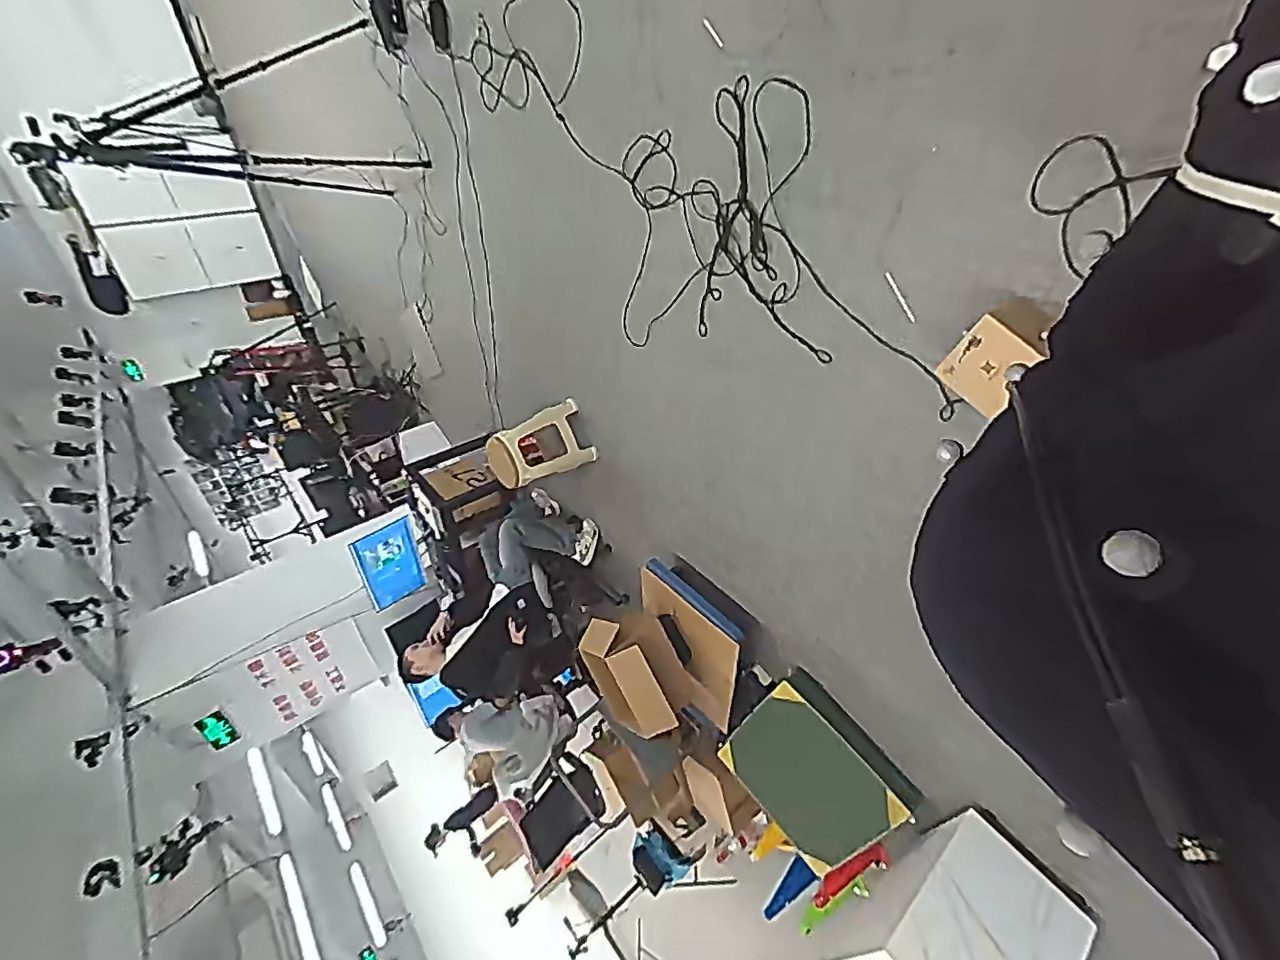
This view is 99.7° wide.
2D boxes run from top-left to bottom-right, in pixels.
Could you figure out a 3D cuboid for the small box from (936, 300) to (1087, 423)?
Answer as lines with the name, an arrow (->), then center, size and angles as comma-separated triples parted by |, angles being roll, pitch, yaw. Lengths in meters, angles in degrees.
small box -> 0.790, -0.257, 1.151 | 0.179, 0.176, 0.168 | 51, 147, 20
